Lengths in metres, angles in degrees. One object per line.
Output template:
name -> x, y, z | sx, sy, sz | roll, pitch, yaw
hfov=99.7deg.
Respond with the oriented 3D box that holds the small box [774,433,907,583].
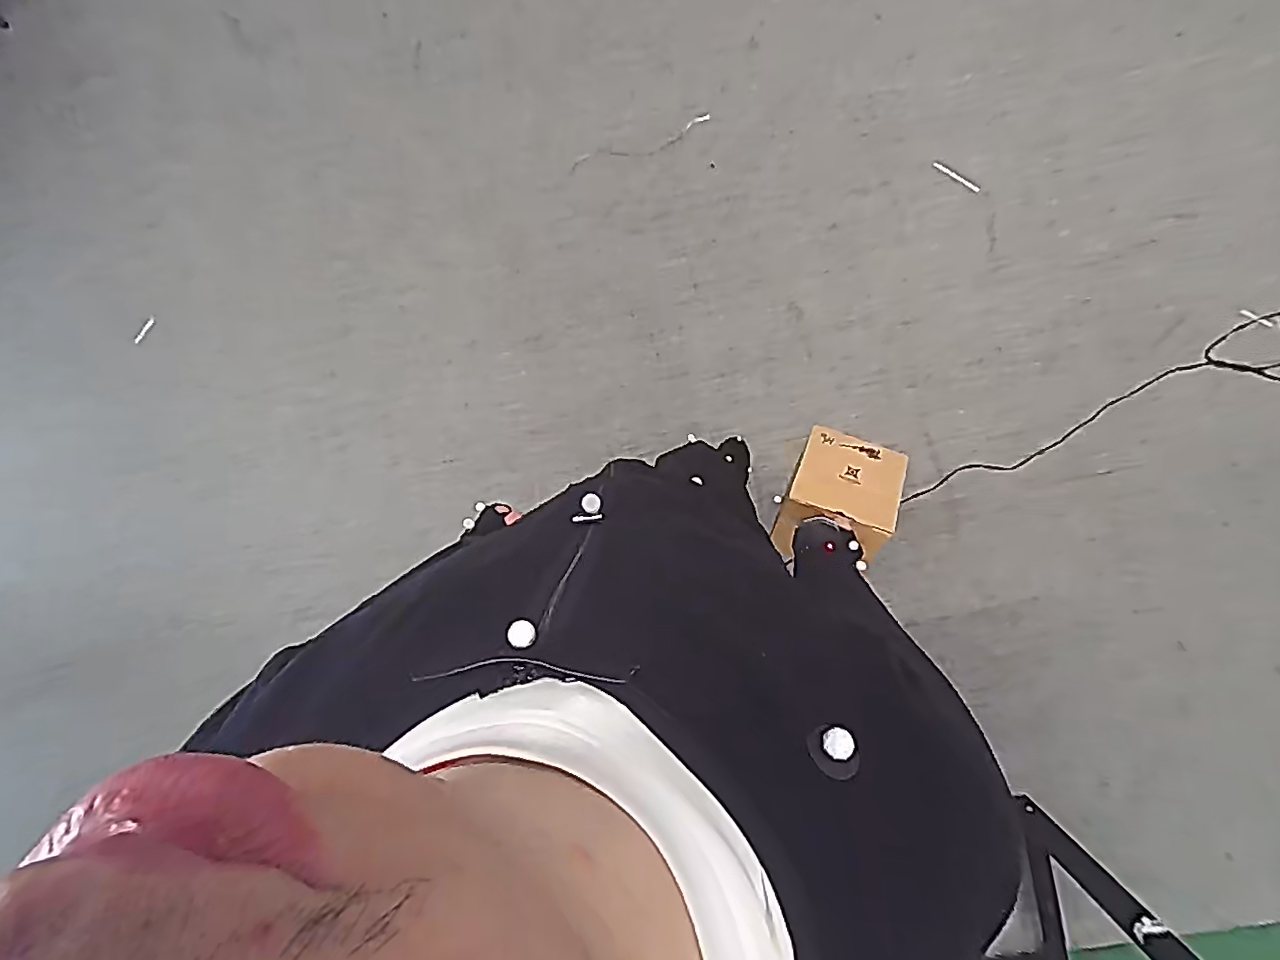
small box -> 0.344, 0.054, 0.951 | 0.168, 0.176, 0.179 | 19, 54, 14
